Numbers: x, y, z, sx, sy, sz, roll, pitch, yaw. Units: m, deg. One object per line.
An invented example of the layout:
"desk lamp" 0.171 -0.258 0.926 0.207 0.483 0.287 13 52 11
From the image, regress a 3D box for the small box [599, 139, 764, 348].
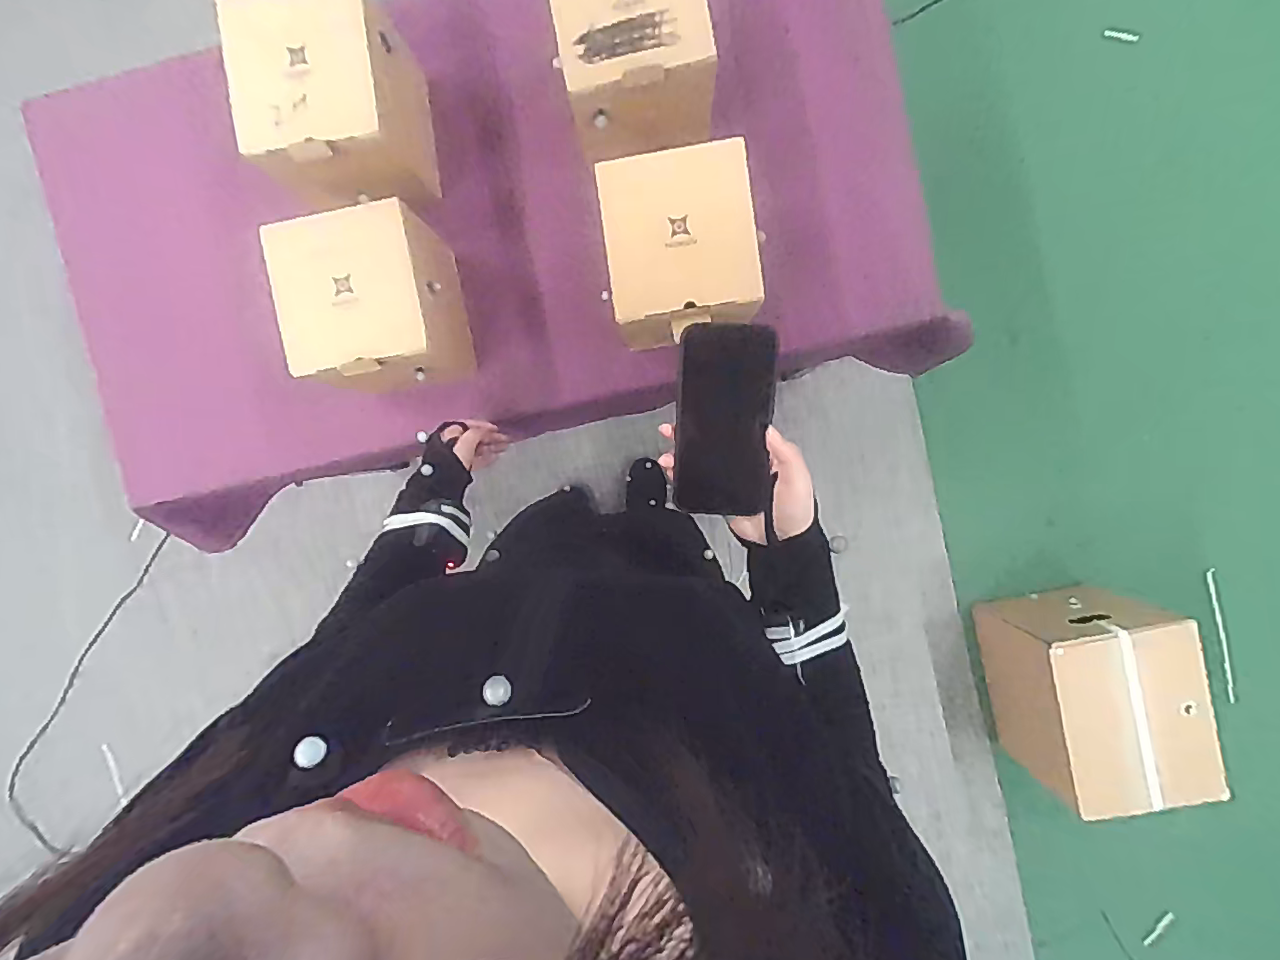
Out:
"small box" 0.048 -0.275 0.668 0.168 0.176 0.179 -8 93 4

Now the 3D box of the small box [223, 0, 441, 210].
"small box" -0.369 -0.465 0.676 0.168 0.176 0.179 -6 94 4

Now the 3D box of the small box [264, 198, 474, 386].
"small box" -0.328 -0.222 0.691 0.168 0.176 0.179 -10 92 3
